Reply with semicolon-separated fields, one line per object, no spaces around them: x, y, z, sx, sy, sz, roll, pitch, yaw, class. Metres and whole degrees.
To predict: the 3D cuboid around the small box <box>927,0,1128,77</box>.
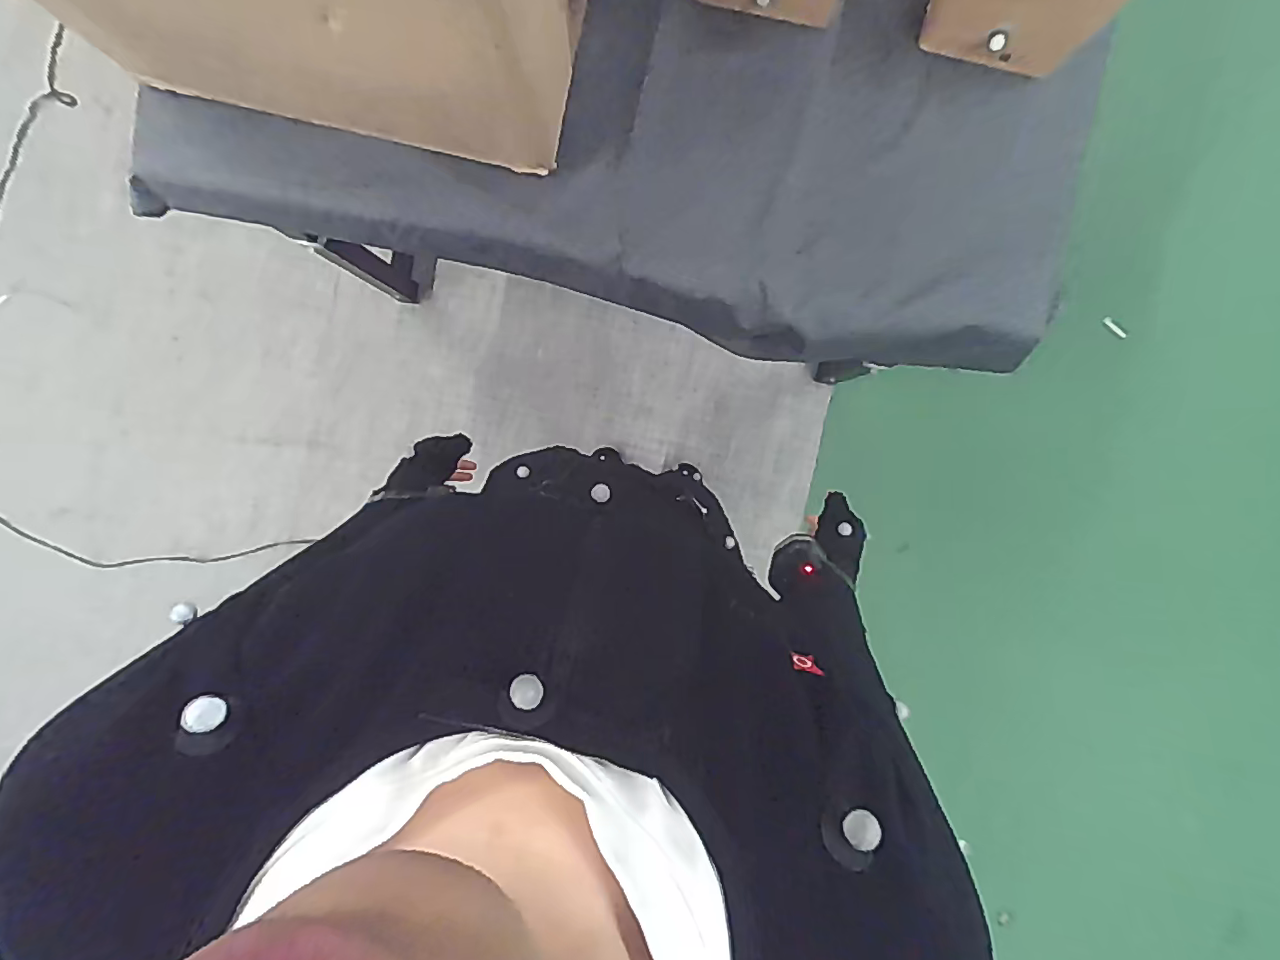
0.460;-0.615;0.611;0.168;0.176;0.179;14;95;-1;small box
